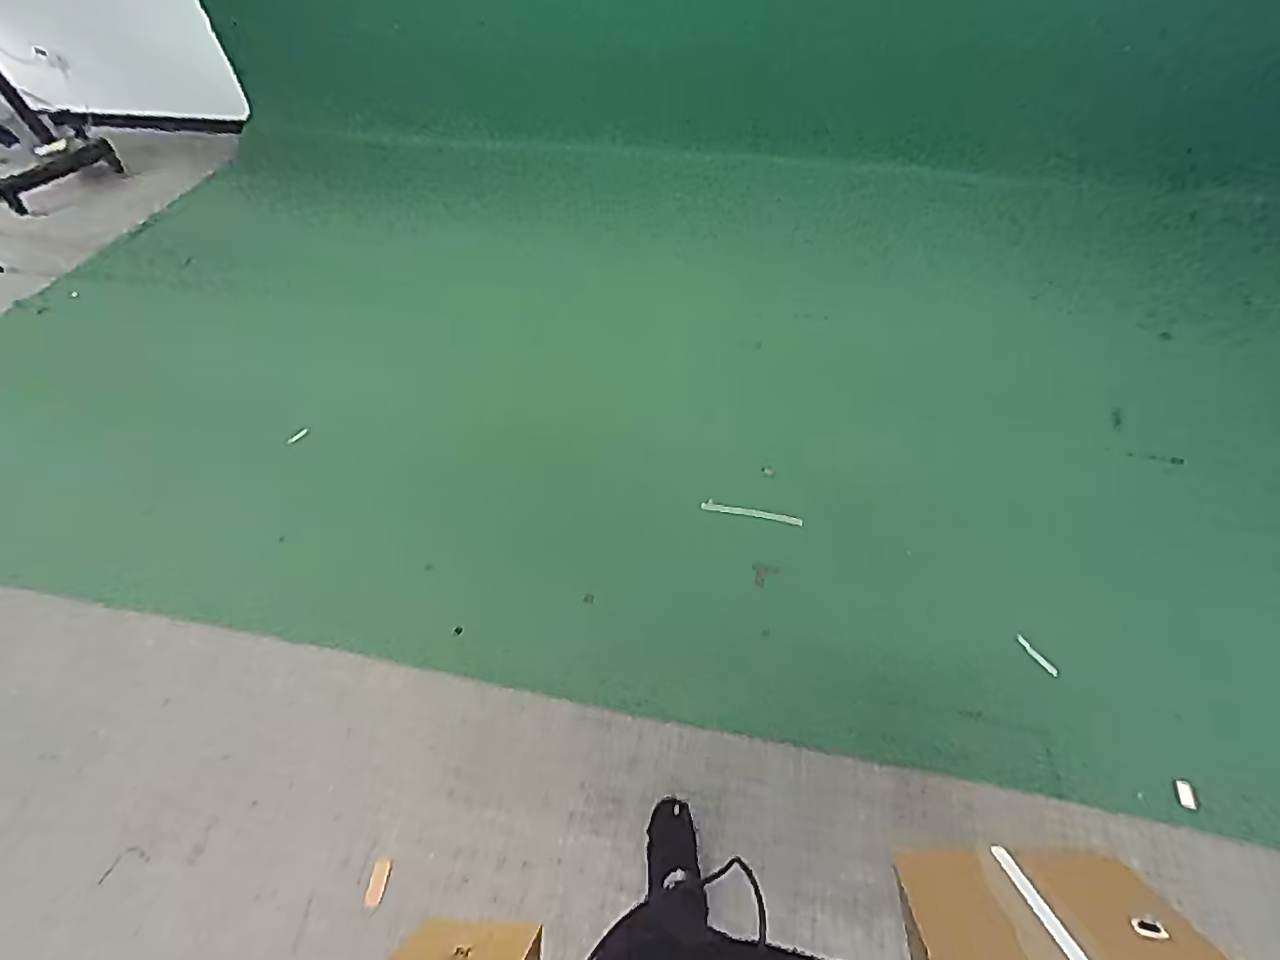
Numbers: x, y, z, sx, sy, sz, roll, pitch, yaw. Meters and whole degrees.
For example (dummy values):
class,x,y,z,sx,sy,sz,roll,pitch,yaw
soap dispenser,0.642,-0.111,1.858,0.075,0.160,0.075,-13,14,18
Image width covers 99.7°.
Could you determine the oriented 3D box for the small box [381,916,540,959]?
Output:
class,x,y,z,sx,sy,sz,roll,pitch,yaw
small box,-0.224,0.655,0.636,0.168,0.179,0.176,0,72,3
